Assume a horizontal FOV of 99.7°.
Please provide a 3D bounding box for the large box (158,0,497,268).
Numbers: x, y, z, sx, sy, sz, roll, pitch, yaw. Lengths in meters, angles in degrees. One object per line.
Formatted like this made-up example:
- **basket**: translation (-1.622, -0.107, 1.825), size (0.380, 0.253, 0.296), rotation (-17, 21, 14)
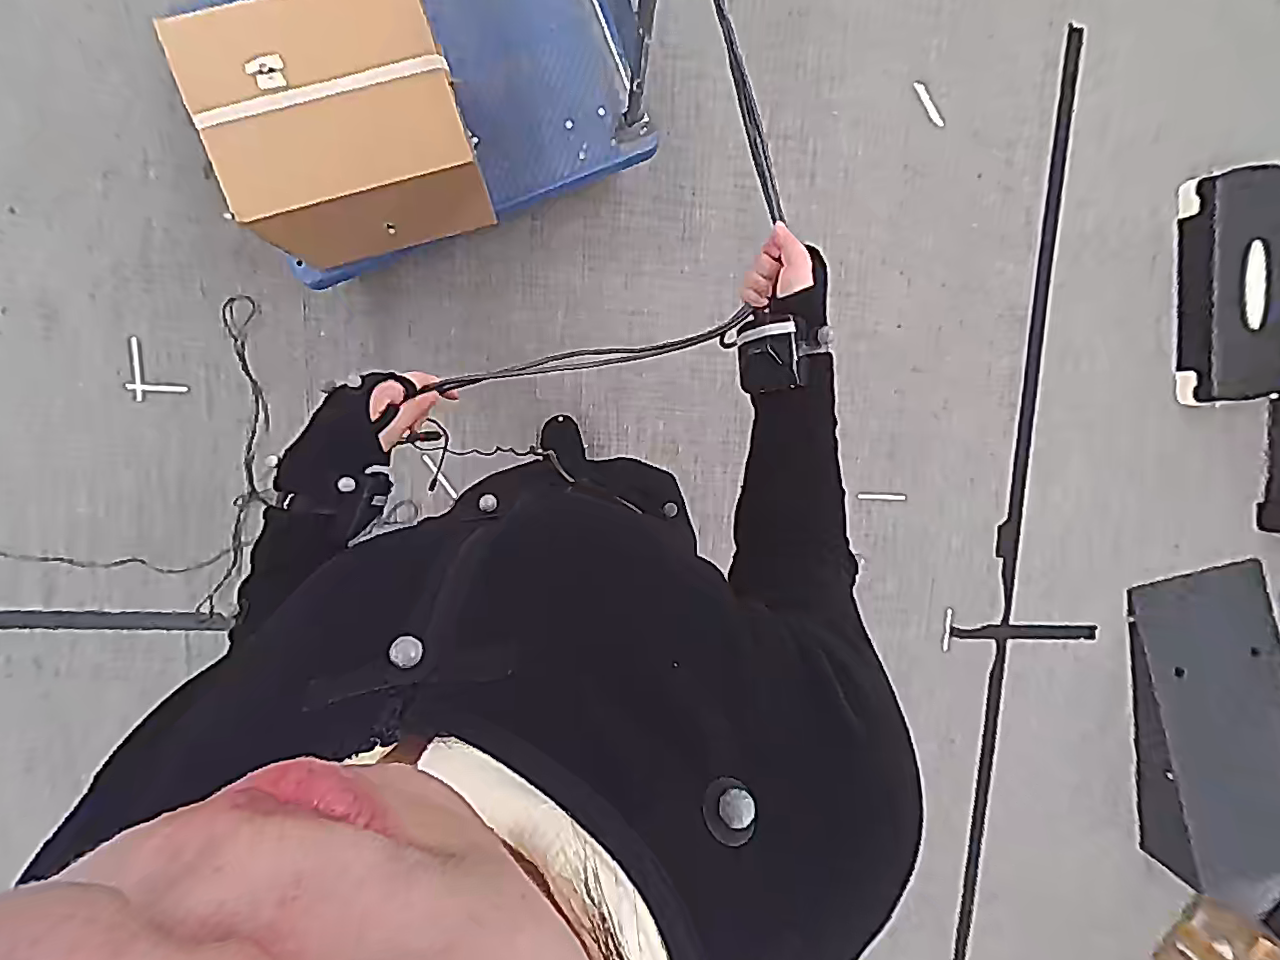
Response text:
- **large box**: translation (-0.530, -0.640, 1.018), size (0.408, 0.320, 0.320), rotation (-19, 99, -4)
